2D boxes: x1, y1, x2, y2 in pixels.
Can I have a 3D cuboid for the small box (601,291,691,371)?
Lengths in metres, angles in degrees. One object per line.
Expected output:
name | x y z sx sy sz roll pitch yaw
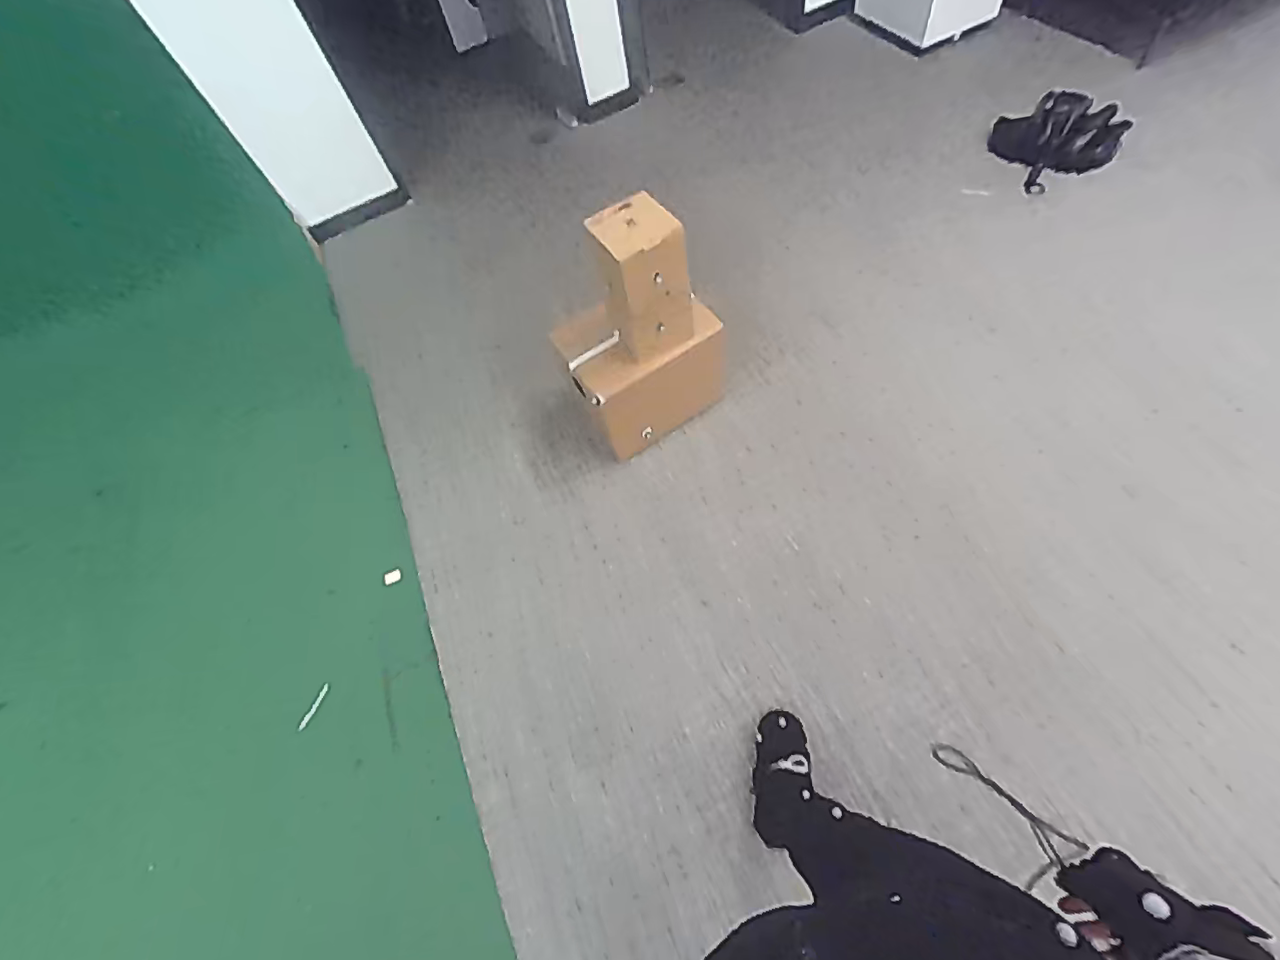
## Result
small box | 0.023 -0.423 1.413 0.179 0.176 0.168 -29 60 -6

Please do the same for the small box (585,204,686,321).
small box | -0.004 -0.502 1.273 0.168 0.176 0.179 -30 60 -8
